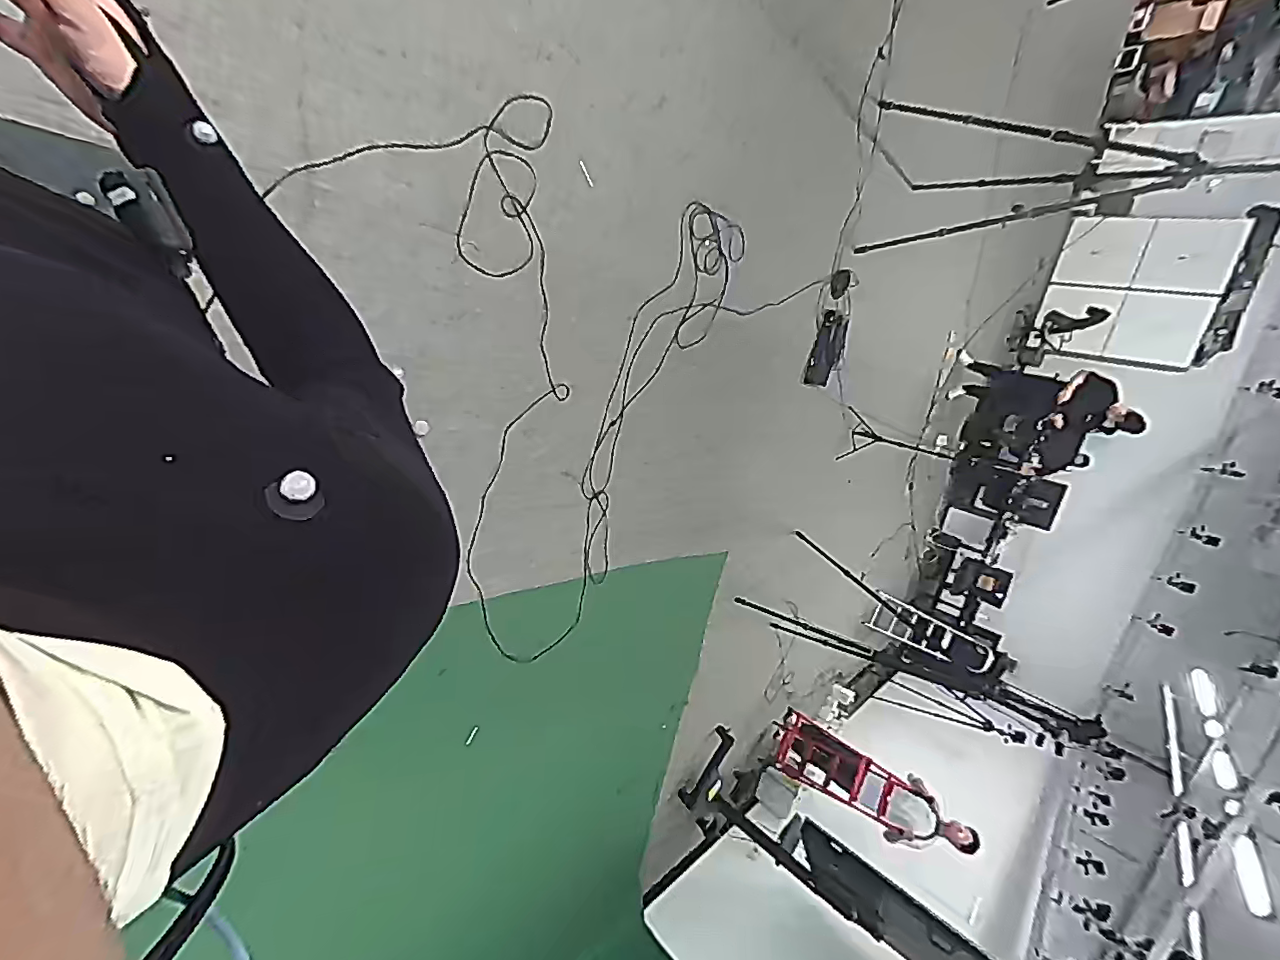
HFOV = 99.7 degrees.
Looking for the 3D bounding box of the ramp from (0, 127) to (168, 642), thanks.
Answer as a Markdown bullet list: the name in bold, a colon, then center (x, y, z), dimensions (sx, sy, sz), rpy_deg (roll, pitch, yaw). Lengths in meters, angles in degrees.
- **ramp**: center (-1.257, -0.167, 1.042), dimensions (0.509, 0.206, 0.991), rpy_deg (-6, 112, -45)
